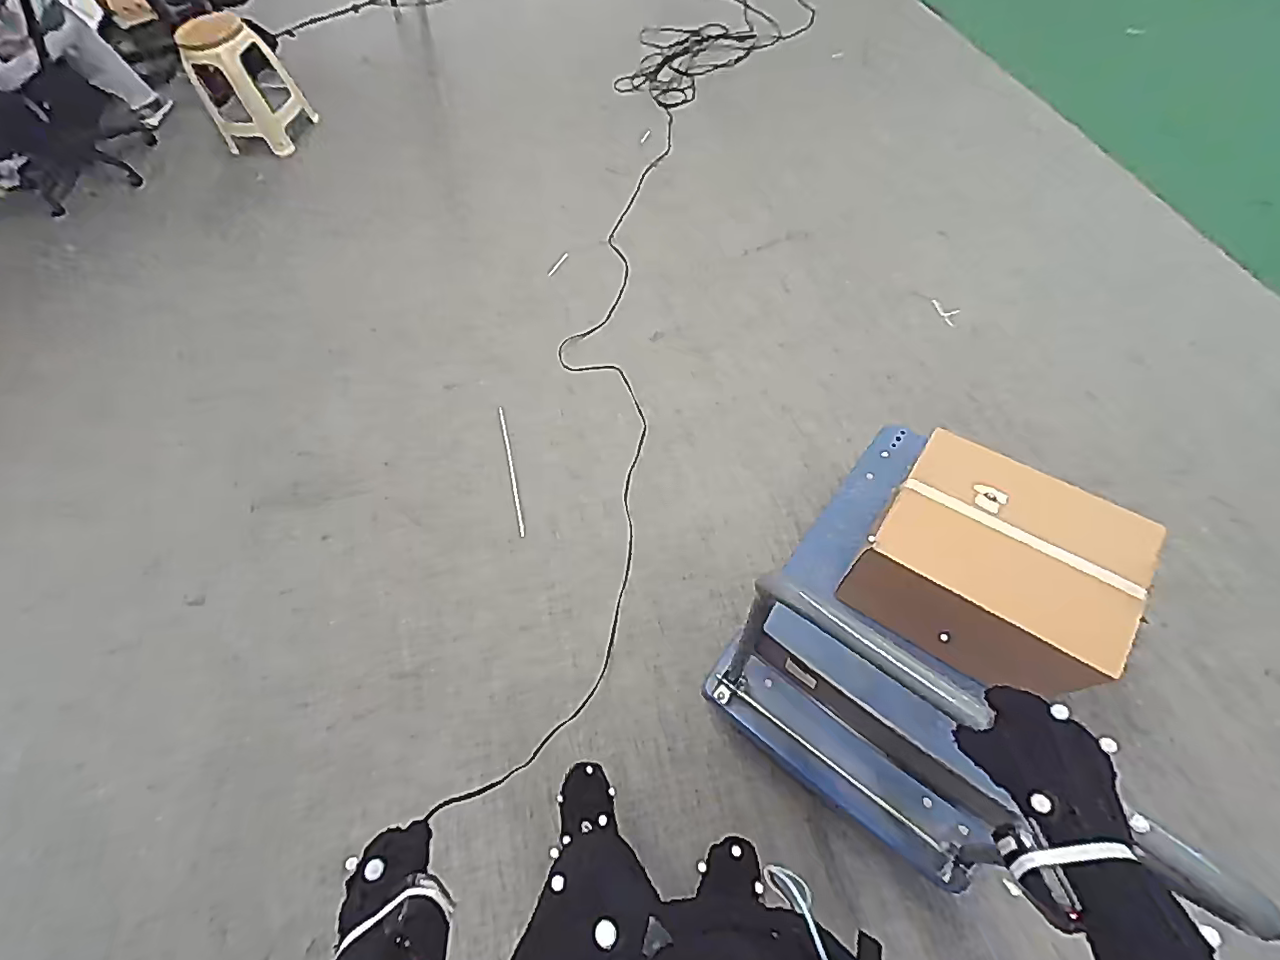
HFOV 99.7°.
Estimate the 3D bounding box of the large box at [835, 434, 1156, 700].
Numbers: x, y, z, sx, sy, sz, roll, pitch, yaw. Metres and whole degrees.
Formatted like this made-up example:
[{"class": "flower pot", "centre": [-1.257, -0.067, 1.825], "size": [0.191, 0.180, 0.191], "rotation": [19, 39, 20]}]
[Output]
[{"class": "large box", "centre": [0.670, 0.180, 1.084], "size": [0.408, 0.320, 0.320], "rotation": [29, 67, 21]}]
